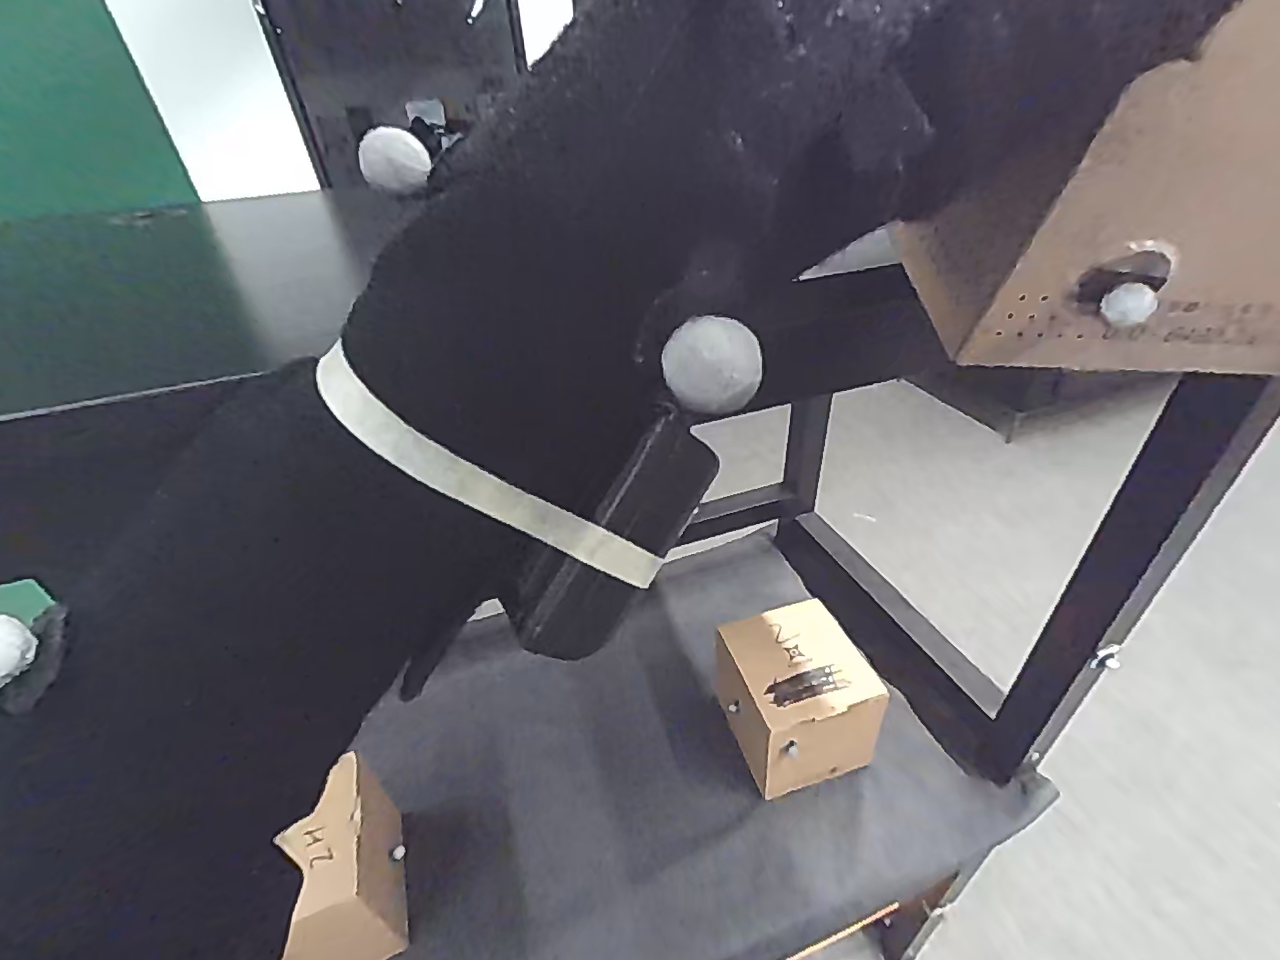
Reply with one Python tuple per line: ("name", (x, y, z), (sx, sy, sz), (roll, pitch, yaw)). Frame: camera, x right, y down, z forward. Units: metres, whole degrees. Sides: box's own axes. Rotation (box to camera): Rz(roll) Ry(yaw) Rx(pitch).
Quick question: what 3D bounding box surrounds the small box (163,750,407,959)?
("small box", (-0.391, 0.465, 0.630), (0.179, 0.176, 0.168), (-16, 37, -17))
